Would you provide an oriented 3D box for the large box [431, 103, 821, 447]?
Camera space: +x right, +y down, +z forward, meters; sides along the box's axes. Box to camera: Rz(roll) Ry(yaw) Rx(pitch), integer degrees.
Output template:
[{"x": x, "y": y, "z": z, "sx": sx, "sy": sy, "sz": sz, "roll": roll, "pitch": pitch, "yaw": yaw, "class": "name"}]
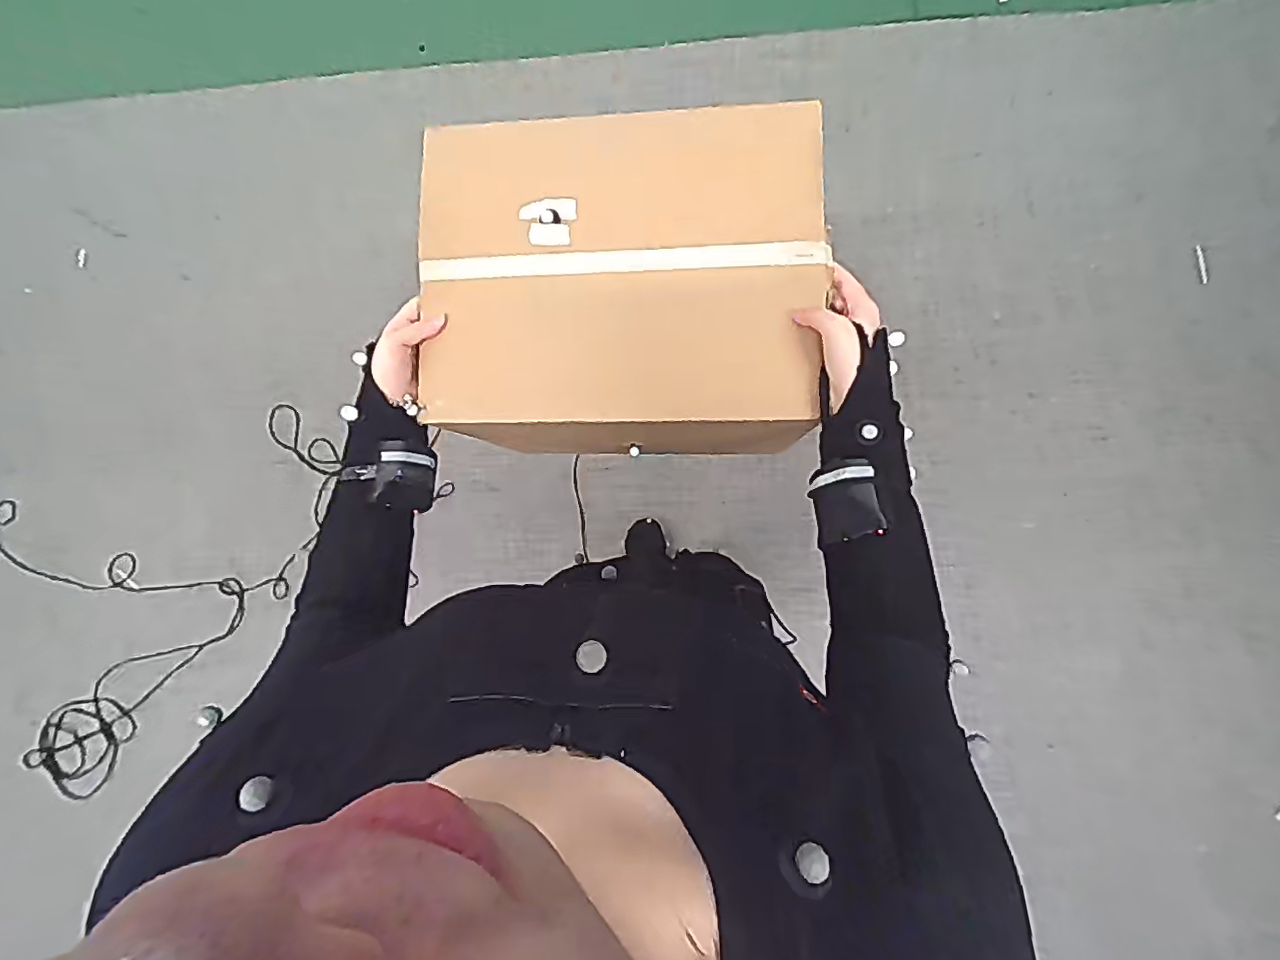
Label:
[{"x": -0.003, "y": -0.210, "z": 0.697, "sx": 0.408, "sy": 0.320, "sz": 0.320, "roll": 0, "pitch": 87, "yaw": 8, "class": "large box"}]
